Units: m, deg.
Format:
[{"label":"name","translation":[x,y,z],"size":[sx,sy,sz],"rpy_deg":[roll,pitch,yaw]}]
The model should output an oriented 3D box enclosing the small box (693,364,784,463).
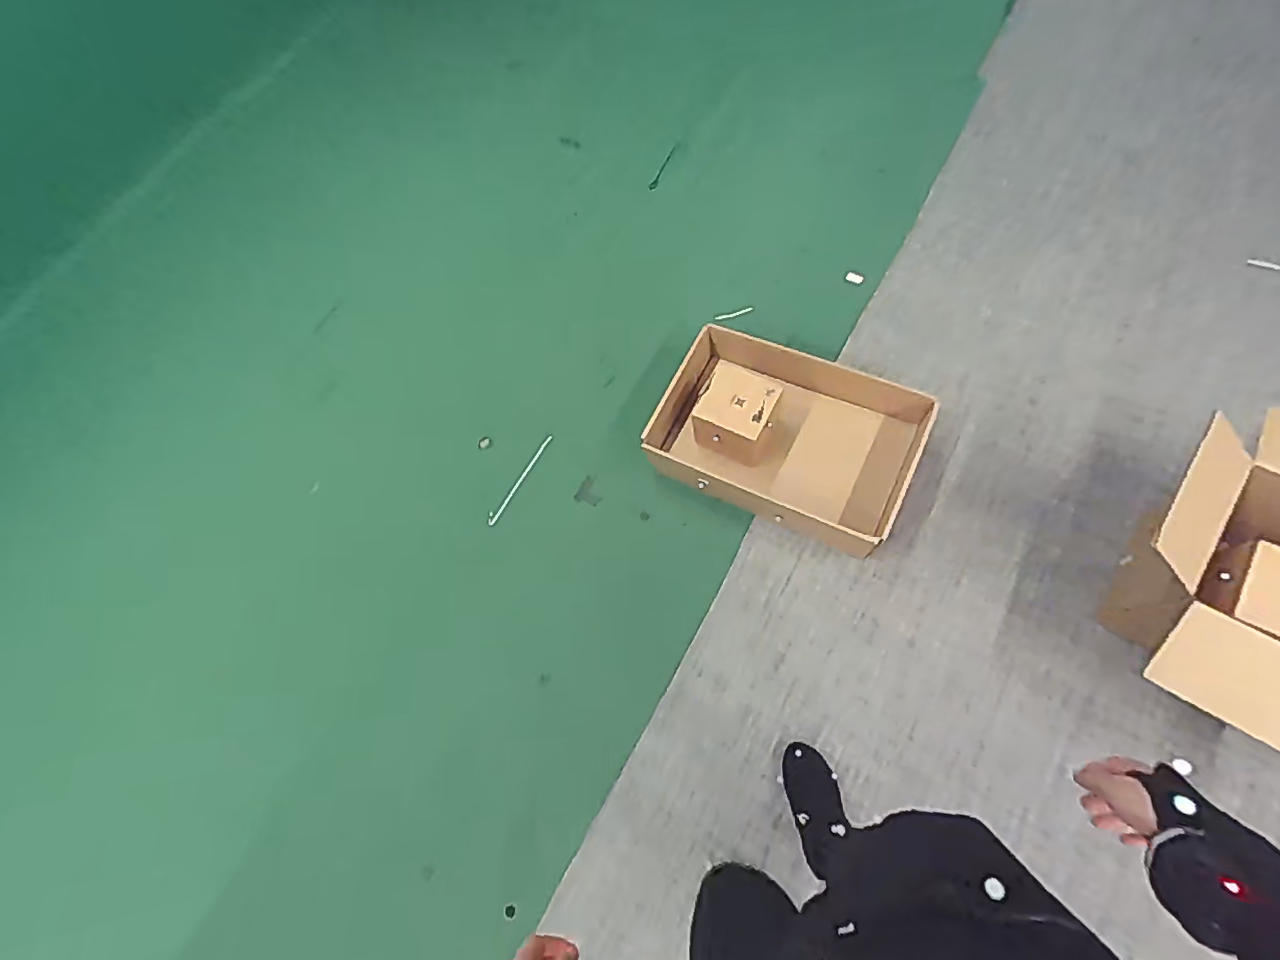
[{"label":"small box","translation":[0.255,-0.167,1.405],"size":[0.179,0.176,0.168],"rpy_deg":[25,74,18]}]
